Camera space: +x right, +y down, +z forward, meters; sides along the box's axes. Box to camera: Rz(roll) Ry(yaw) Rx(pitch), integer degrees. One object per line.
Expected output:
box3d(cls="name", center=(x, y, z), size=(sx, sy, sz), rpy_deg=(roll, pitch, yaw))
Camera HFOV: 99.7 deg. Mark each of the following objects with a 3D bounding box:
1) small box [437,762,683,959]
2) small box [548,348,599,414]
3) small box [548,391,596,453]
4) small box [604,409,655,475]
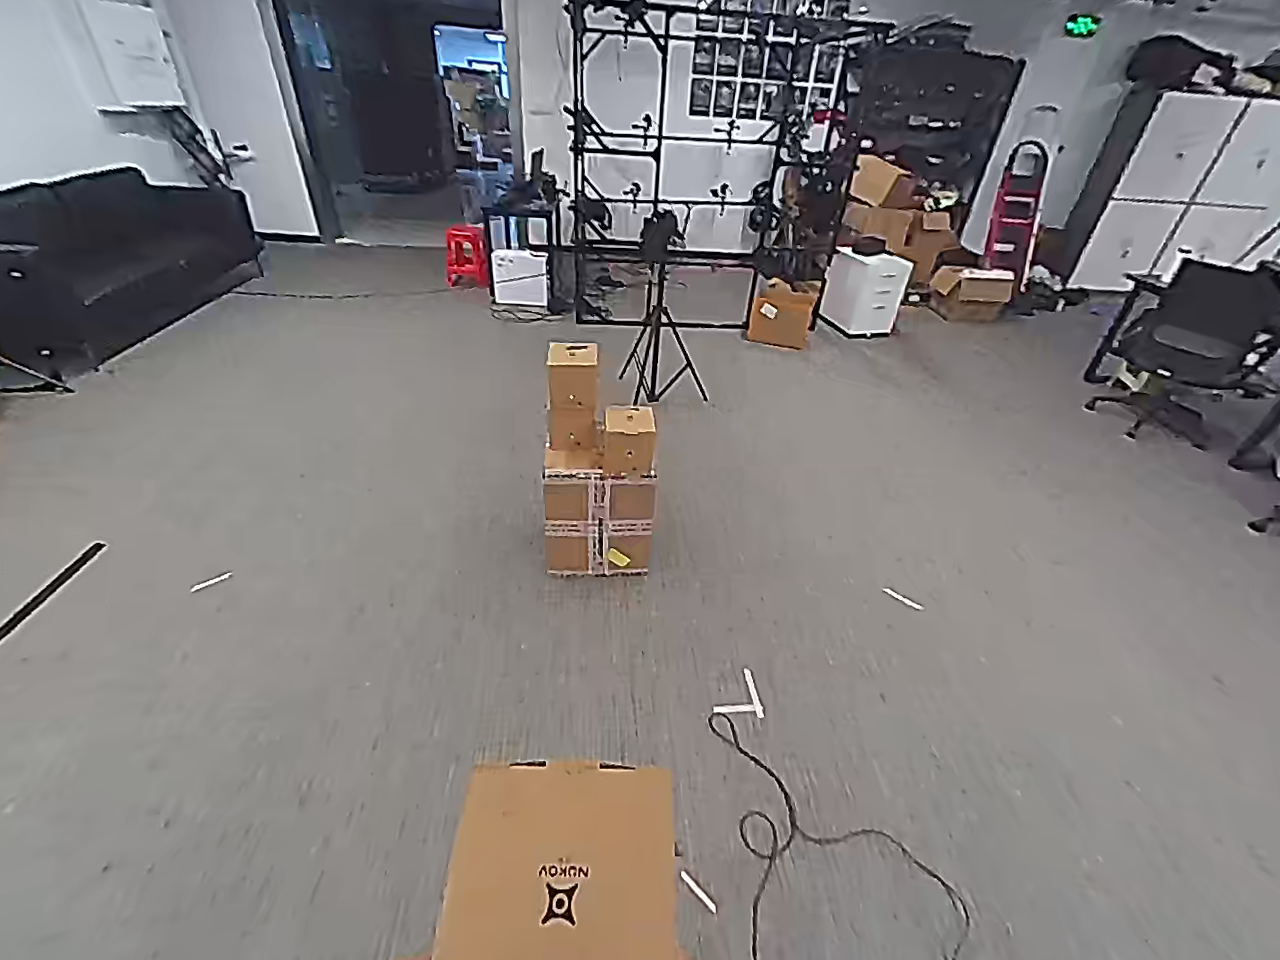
box3d(cls="small box", center=(-0.055, 0.351, 0.440), size=(0.168, 0.176, 0.179), rpy_deg=(1, 47, 0))
box3d(cls="small box", center=(-0.228, -0.347, 1.881), size=(0.168, 0.176, 0.179), rpy_deg=(-1, 38, -4))
box3d(cls="small box", center=(-0.248, -0.217, 1.982), size=(0.168, 0.176, 0.179), rpy_deg=(-4, 38, -7))
box3d(cls="small box", center=(-0.038, -0.129, 1.878), size=(0.168, 0.176, 0.179), rpy_deg=(1, 37, -5))
